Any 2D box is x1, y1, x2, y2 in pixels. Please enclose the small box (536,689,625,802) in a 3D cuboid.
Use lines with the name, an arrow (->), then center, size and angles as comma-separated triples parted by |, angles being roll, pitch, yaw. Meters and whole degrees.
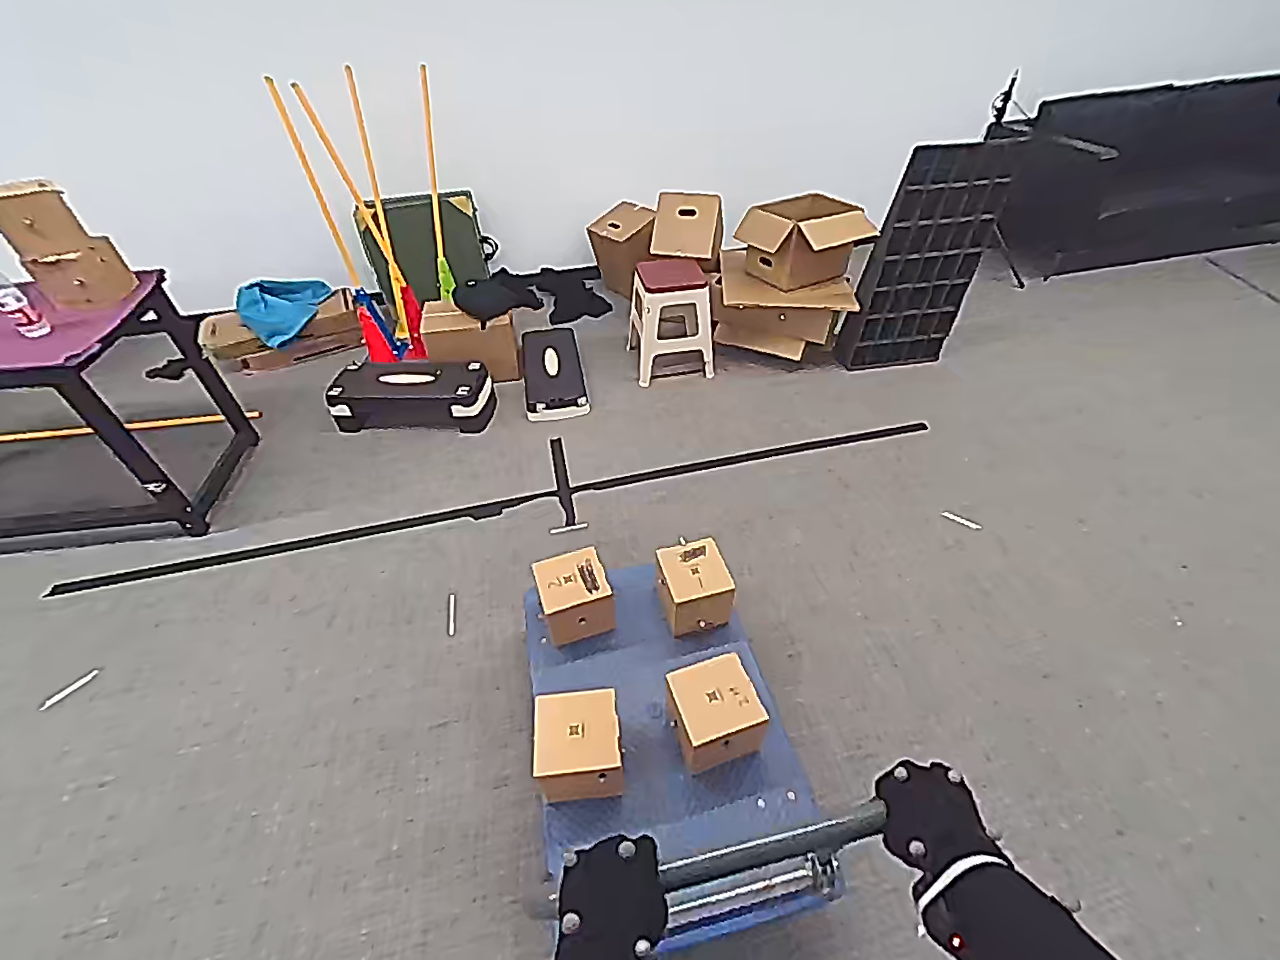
small box -> -0.127, 0.584, 1.186 | 0.179, 0.176, 0.168 | -5, 43, -5

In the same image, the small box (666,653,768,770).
small box -> 0.169, 0.531, 1.233 | 0.179, 0.176, 0.168 | -14, 45, -12

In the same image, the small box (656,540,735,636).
small box -> 0.144, 0.296, 1.478 | 0.168, 0.176, 0.179 | -12, 46, -11
